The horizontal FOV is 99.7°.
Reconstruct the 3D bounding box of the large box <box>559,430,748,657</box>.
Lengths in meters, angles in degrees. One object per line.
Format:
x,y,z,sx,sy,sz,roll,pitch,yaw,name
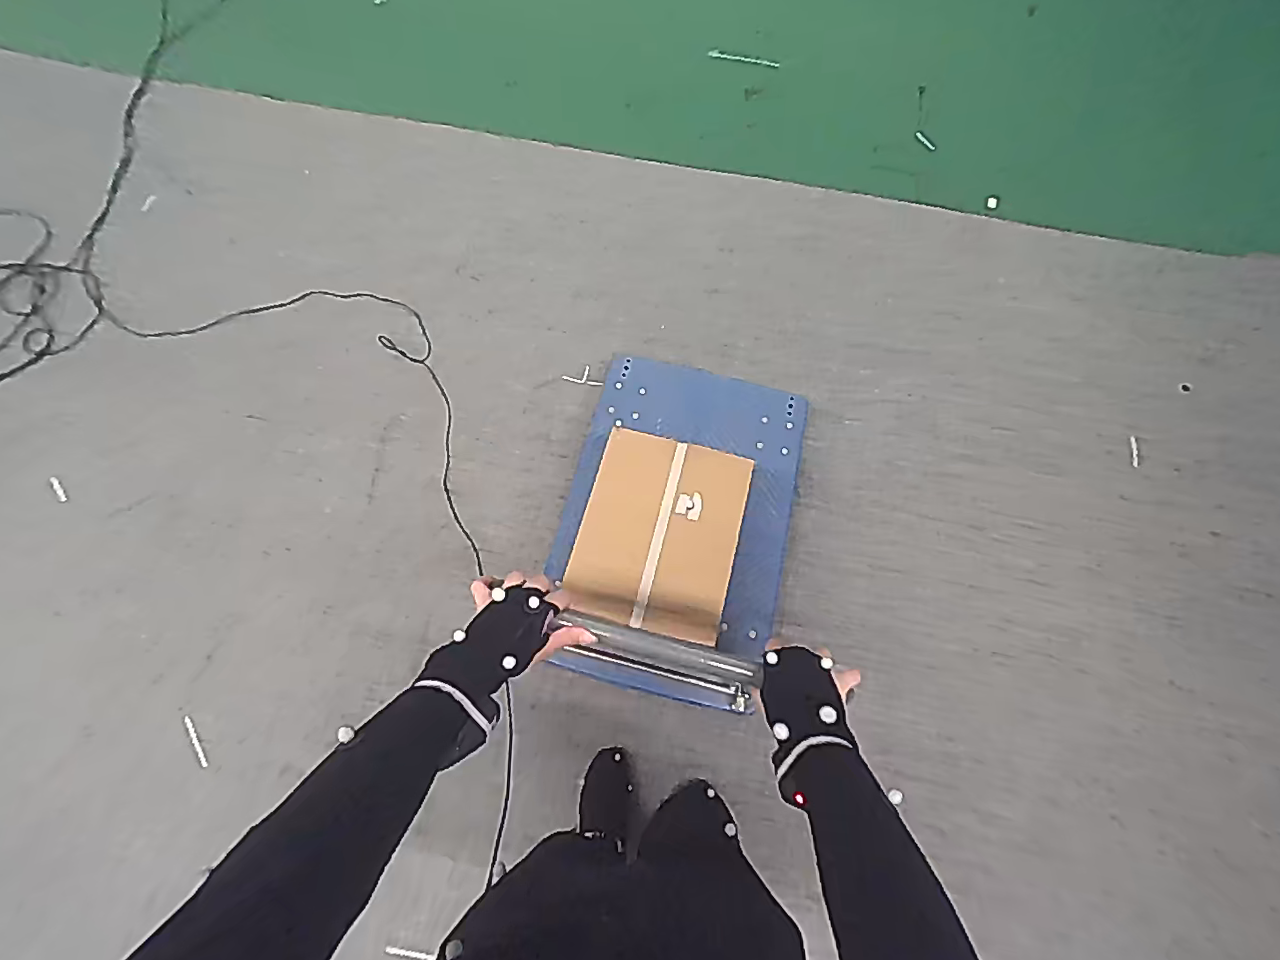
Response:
0.034,0.158,1.231,0.320,0.320,0.408,15,69,4,large box
